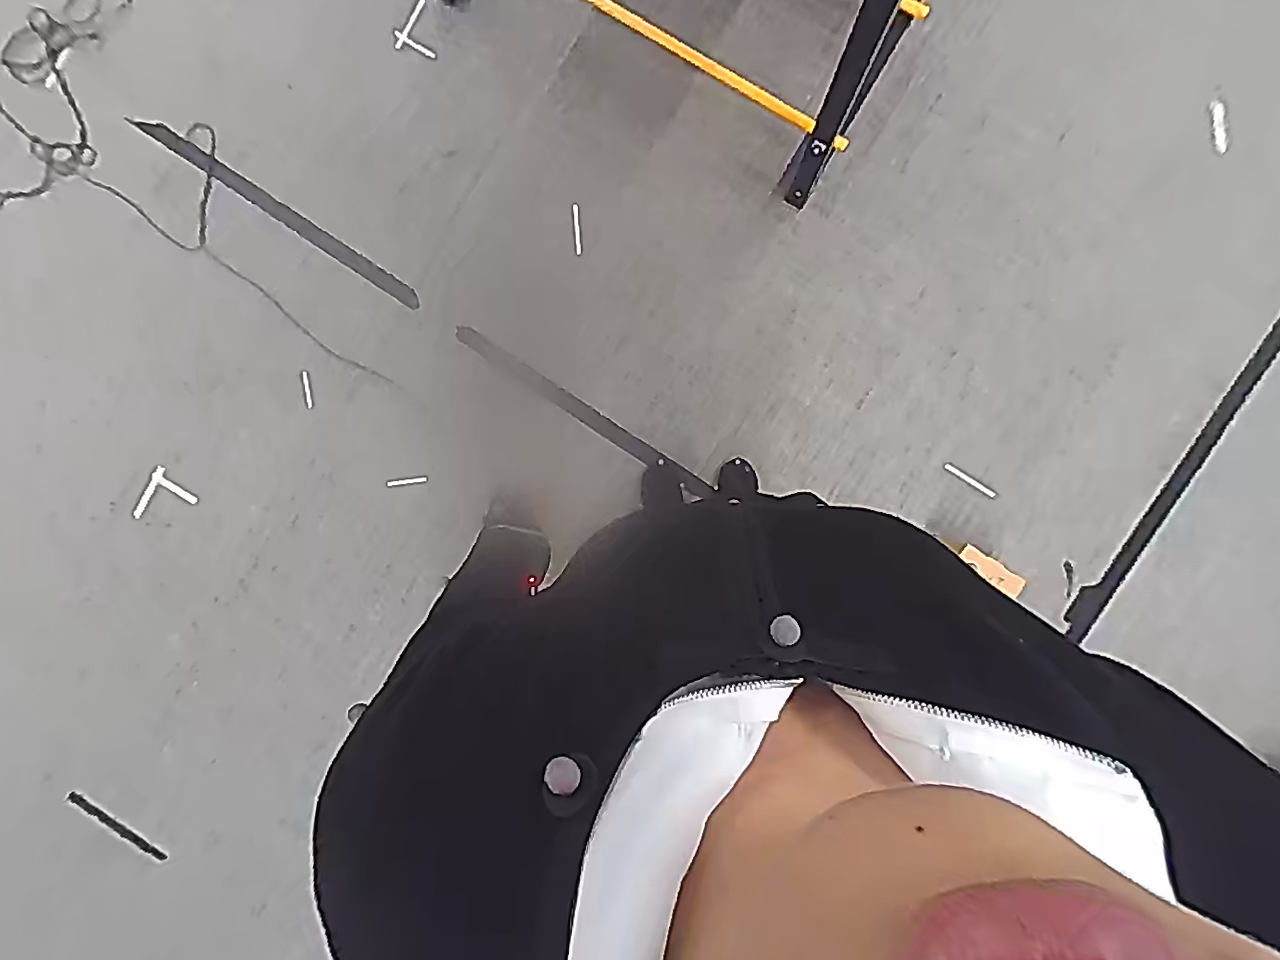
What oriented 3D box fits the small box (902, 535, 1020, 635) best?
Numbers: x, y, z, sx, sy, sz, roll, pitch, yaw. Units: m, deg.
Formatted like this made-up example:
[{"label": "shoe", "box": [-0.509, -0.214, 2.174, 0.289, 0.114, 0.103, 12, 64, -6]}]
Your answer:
[{"label": "small box", "box": [0.803, 0.260, 1.381, 0.168, 0.176, 0.179, 34, 93, 3]}]
